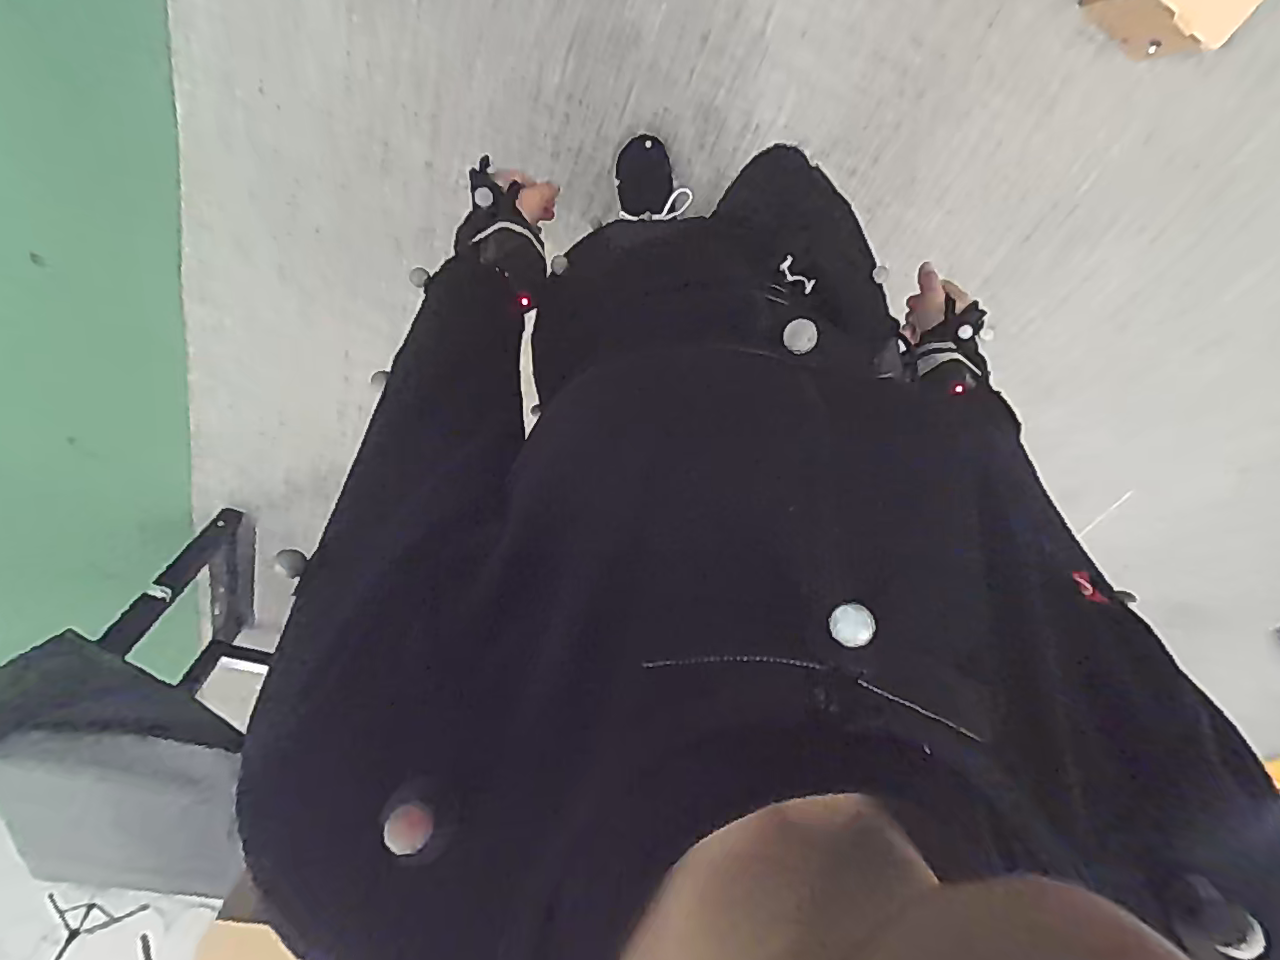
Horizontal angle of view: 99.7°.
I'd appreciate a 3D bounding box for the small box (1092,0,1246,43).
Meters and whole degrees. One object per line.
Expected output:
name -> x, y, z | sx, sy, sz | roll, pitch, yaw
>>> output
small box -> 0.881, -0.843, 0.867 | 0.168, 0.176, 0.179 | 22, 122, -19
